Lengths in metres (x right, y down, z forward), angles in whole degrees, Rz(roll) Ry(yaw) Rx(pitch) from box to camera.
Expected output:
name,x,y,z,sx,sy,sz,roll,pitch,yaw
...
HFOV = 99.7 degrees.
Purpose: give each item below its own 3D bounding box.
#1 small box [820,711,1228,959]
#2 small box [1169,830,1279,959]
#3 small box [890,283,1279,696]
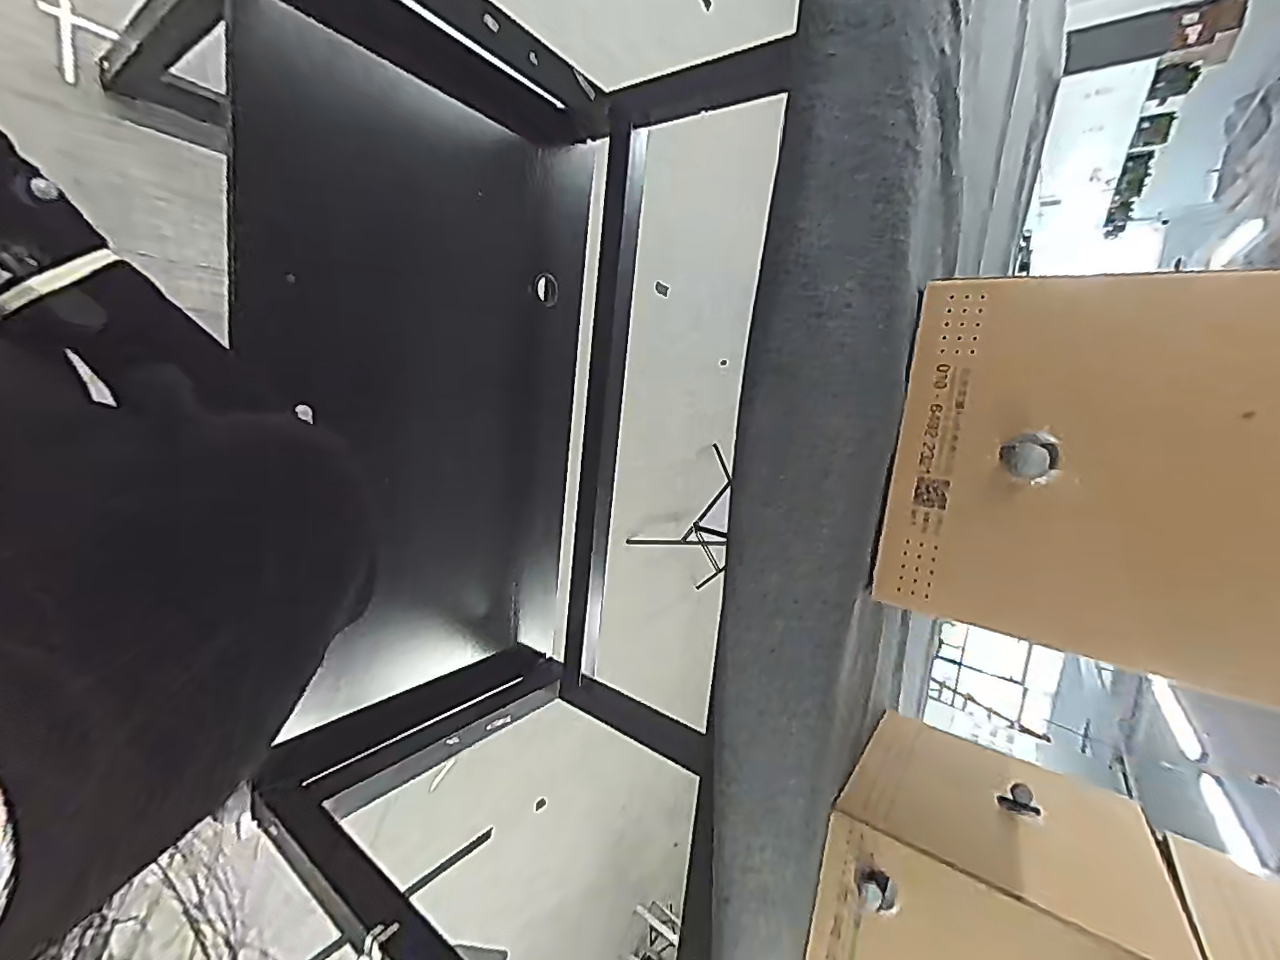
name,x,y,z,sx,sy,sz,roll,pitch,yaw
small box,0.227,0.284,0.355,0.179,0.176,0.168,0,99,-57
small box,0.340,0.312,0.238,0.179,0.176,0.168,-11,109,-55
small box,0.254,-0.010,0.305,0.179,0.176,0.168,-5,104,-57
